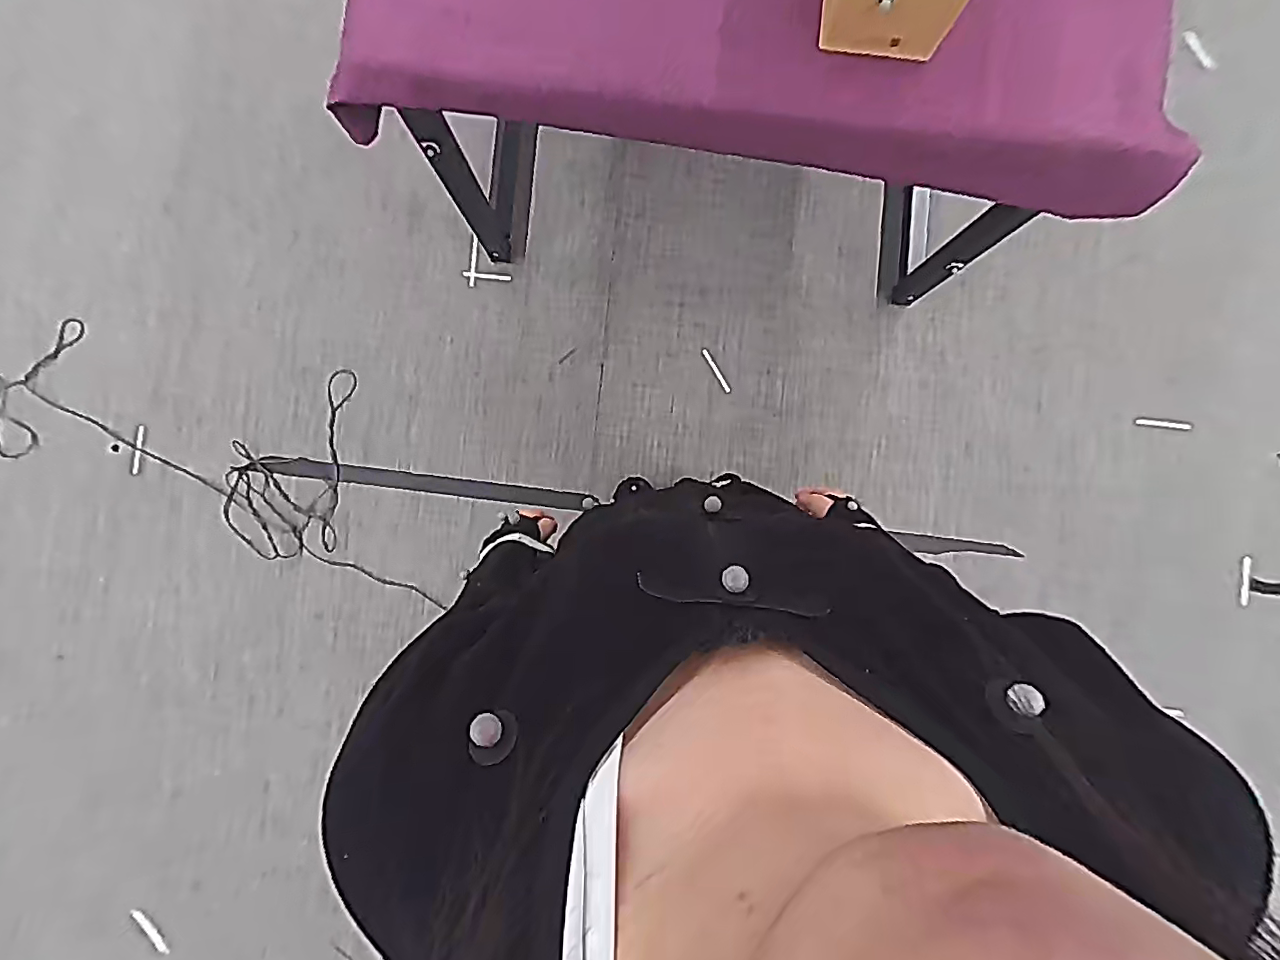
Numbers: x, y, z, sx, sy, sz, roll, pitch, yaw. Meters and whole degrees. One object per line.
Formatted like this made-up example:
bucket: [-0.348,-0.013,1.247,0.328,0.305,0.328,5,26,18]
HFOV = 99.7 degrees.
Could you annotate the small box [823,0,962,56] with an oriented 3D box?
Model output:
small box: [0.356,-0.718,0.723,0.168,0.176,0.179,6,88,0]
